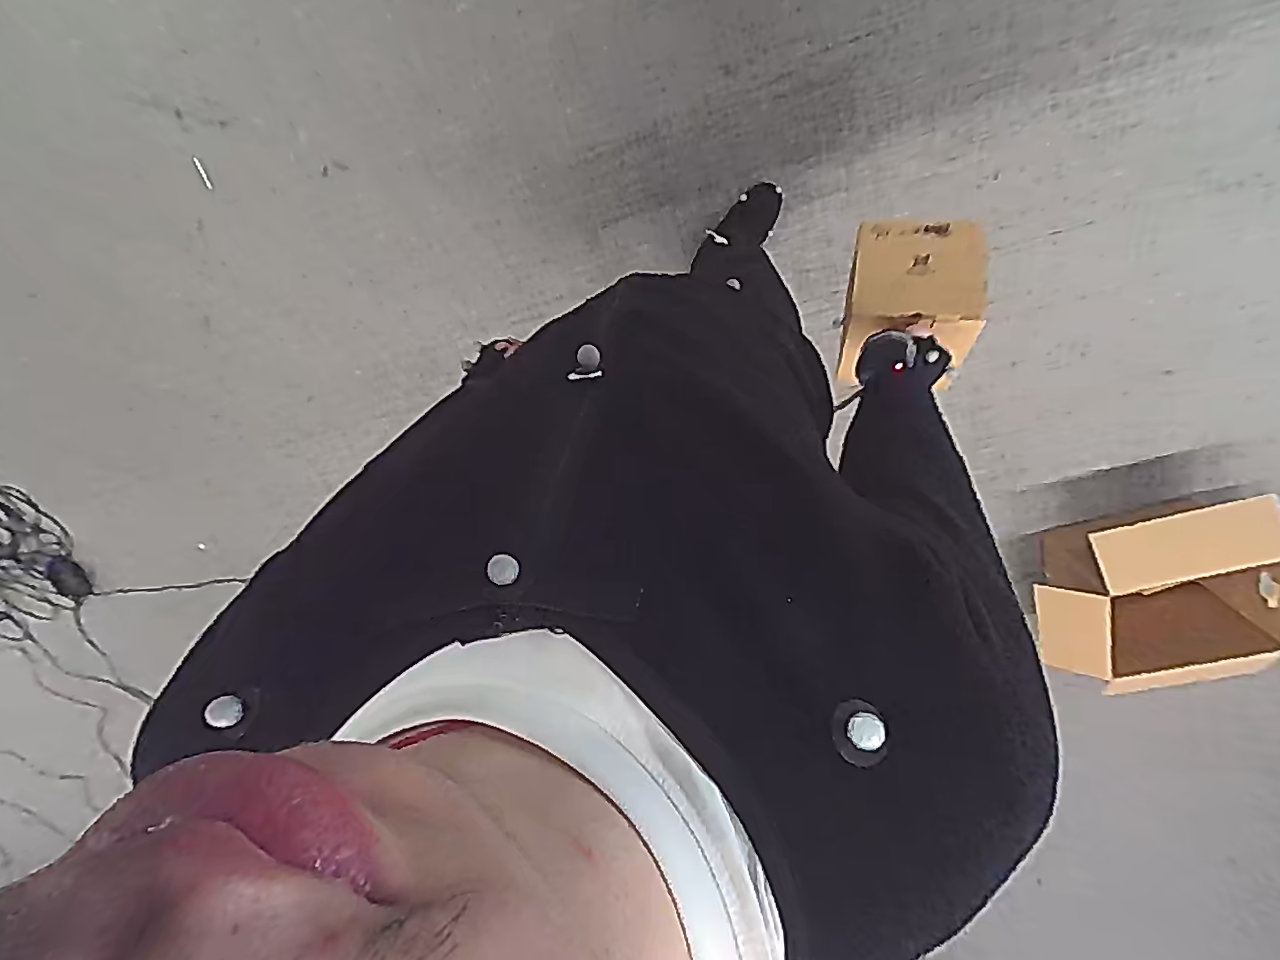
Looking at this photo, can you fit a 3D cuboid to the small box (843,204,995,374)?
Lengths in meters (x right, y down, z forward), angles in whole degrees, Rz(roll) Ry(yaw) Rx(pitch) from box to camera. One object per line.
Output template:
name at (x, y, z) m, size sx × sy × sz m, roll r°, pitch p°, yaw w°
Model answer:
small box at (0.402, -0.275, 0.802) m, size 0.168 × 0.179 × 0.176 m, roll 8°, pitch 163°, yaw 16°
